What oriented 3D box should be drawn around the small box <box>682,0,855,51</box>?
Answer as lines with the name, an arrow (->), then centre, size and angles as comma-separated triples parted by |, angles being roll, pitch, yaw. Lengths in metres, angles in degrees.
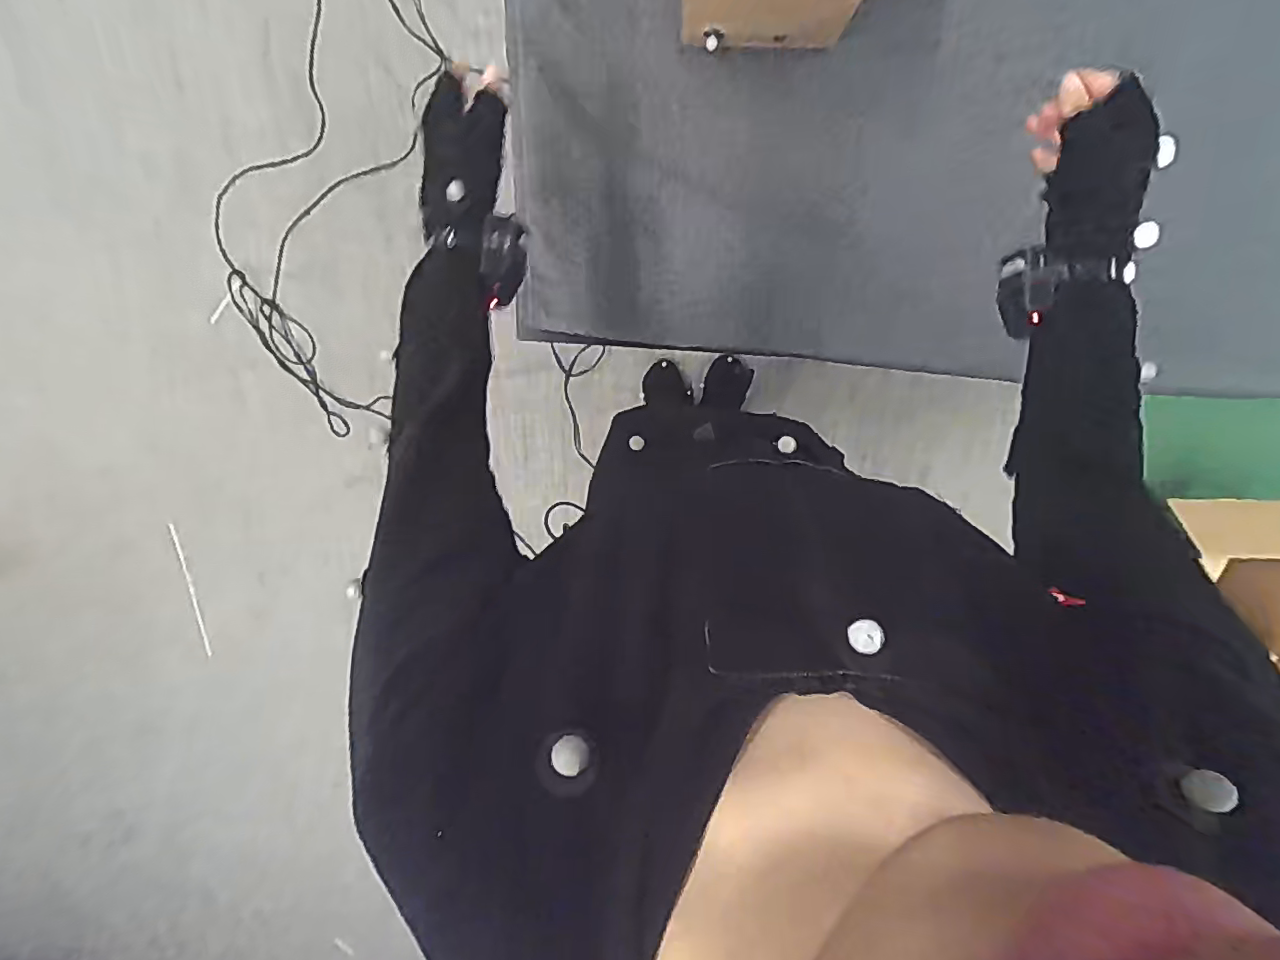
small box -> 0.126, -0.527, 0.491 | 0.168, 0.176, 0.179 | 2, 106, 2
